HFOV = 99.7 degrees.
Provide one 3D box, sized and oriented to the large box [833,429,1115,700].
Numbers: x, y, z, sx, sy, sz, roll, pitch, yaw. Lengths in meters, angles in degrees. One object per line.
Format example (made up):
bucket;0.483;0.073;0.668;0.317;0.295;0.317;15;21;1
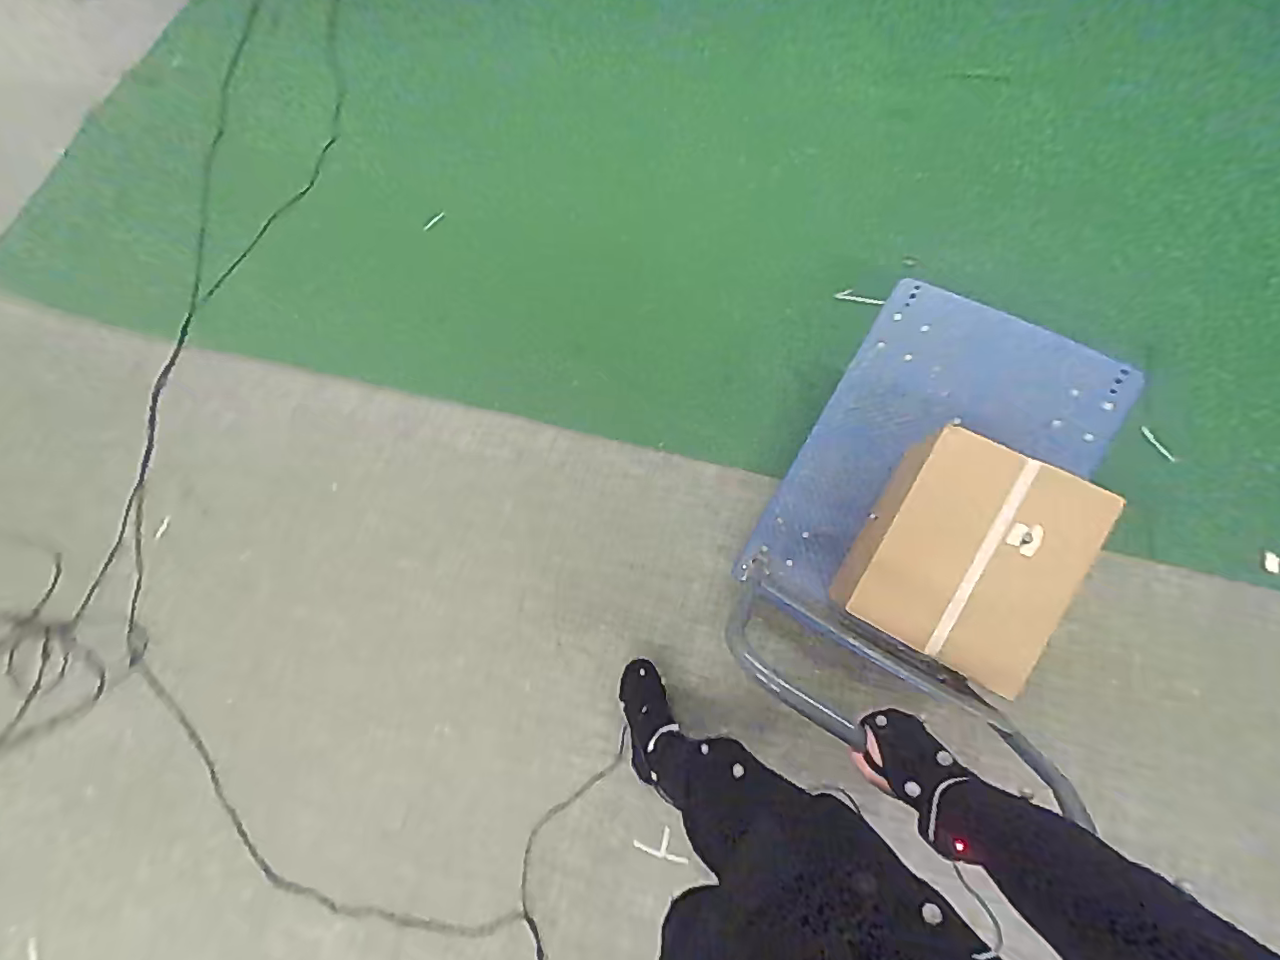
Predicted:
large box;0.647;0.164;1.126;0.320;0.320;0.408;28;90;14
